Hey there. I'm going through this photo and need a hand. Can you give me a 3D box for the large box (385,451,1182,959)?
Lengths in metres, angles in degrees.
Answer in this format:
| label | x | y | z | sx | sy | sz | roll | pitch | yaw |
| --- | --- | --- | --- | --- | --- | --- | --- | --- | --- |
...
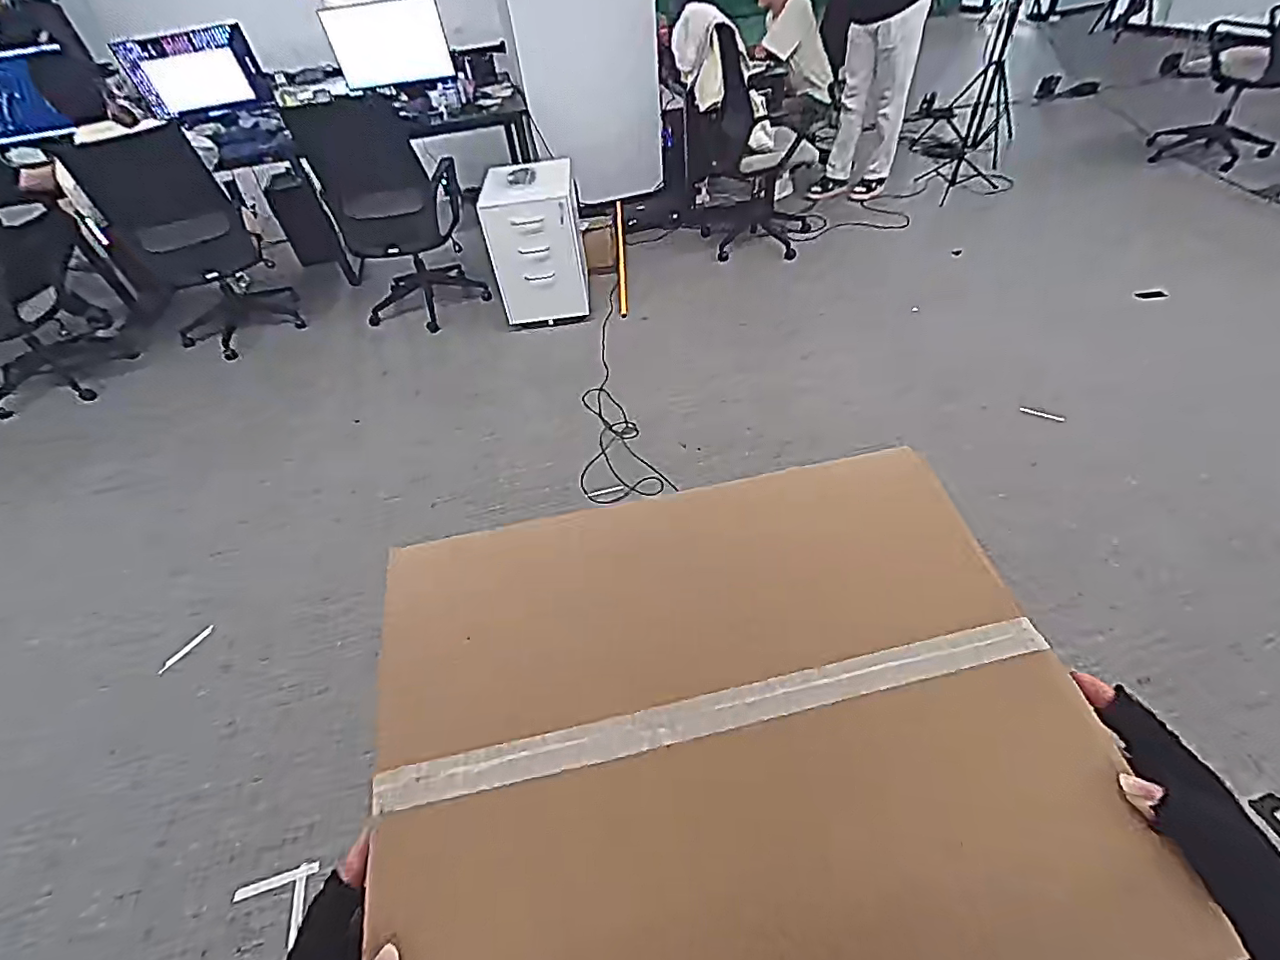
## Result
| label | x | y | z | sx | sy | sz | roll | pitch | yaw |
| --- | --- | --- | --- | --- | --- | --- | --- | --- | --- |
| large box | 0.056 | 0.222 | 0.455 | 0.408 | 0.320 | 0.320 | -12 | 55 | -5 |
